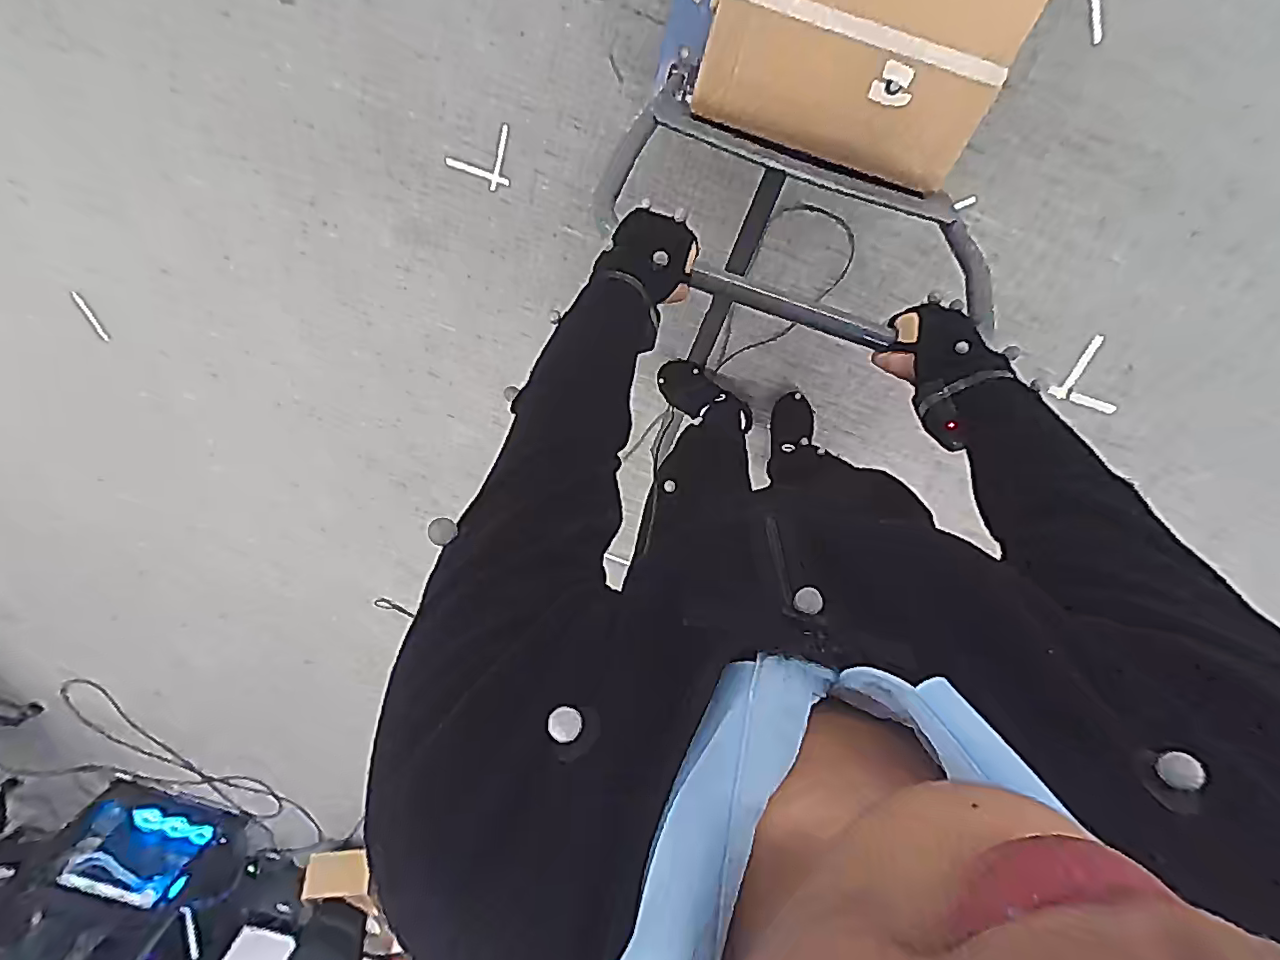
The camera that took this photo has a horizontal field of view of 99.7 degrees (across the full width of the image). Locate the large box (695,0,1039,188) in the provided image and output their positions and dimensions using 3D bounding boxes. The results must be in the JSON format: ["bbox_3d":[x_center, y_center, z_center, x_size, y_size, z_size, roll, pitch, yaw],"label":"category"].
[{"bbox_3d":[0.329,-0.714,0.852,0.408,0.320,0.320,17,133,-3],"label":"large box"}]
